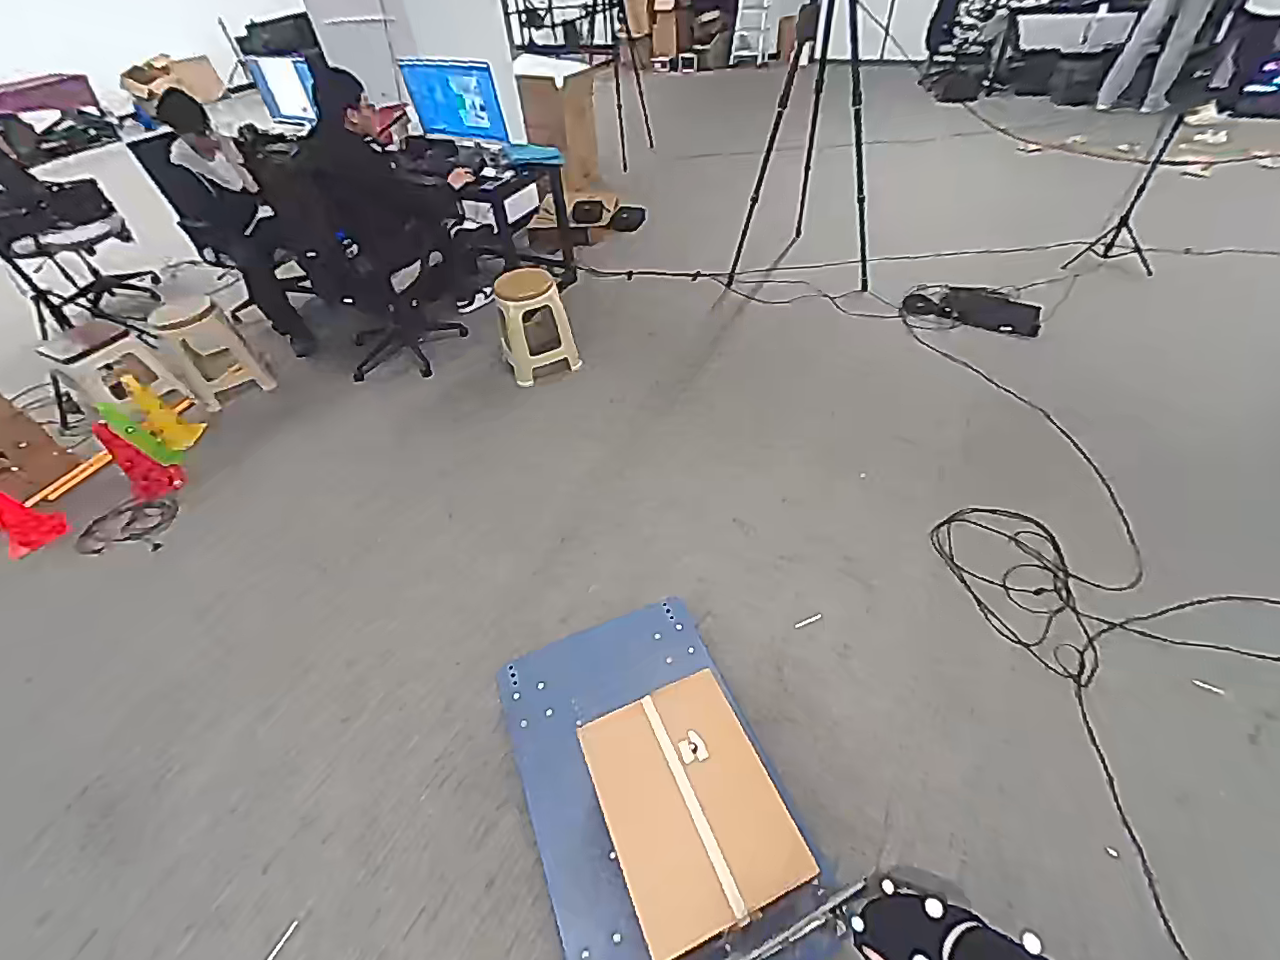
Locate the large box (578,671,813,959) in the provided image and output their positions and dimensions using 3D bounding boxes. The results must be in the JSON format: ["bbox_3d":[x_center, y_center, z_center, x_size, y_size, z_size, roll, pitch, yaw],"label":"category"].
[{"bbox_3d":[0.101,0.701,1.140,0.320,0.320,0.408,-19,46,-13],"label":"large box"}]
